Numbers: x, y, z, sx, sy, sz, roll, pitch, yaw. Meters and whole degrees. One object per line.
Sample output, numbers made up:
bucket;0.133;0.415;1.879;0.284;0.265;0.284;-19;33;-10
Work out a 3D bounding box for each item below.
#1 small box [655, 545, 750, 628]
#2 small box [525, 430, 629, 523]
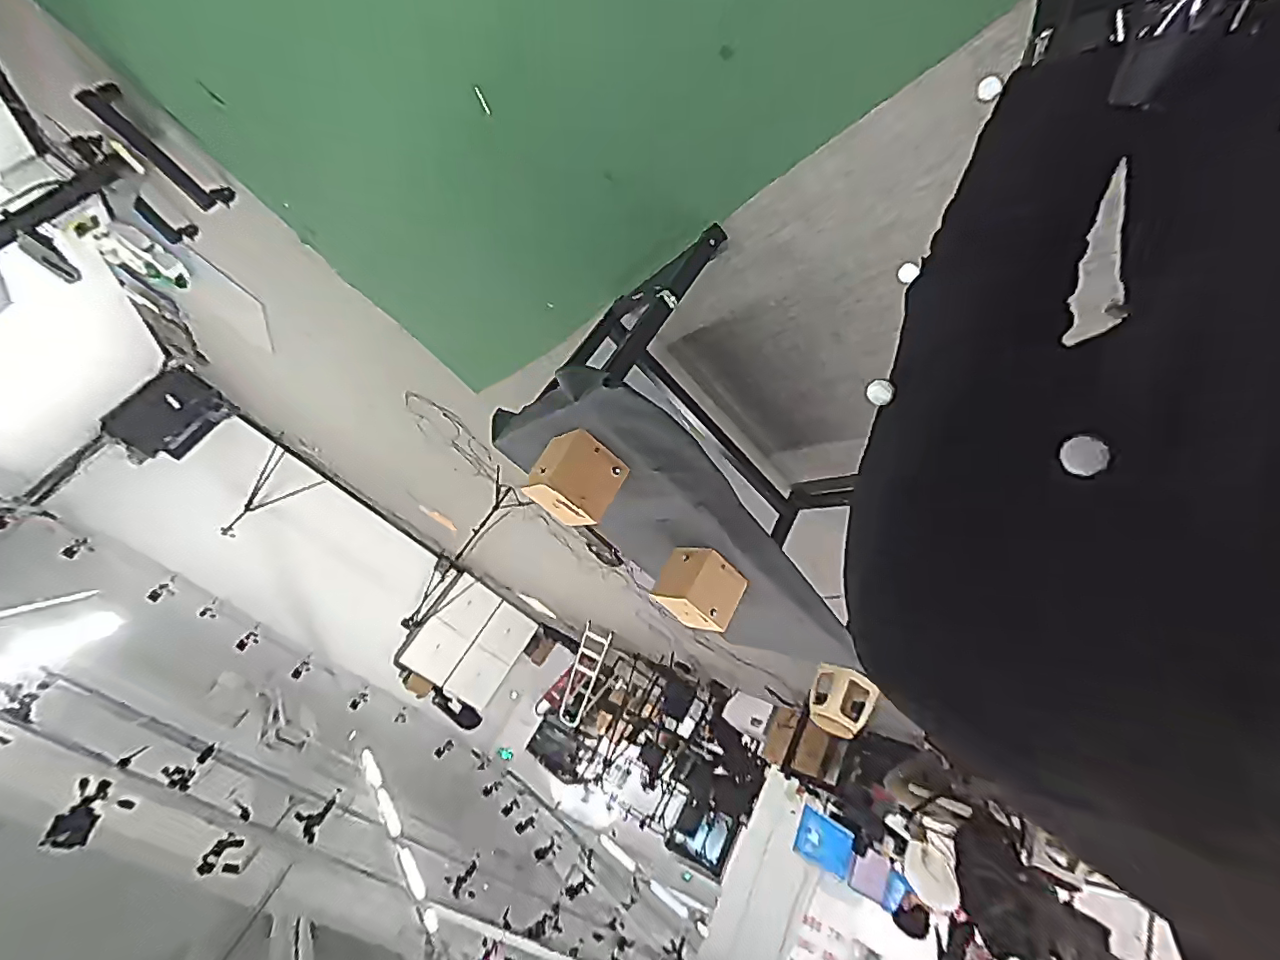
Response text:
small box;0.181;0.298;1.548;0.168;0.176;0.179;42;155;-21
small box;-0.152;-0.008;1.355;0.168;0.176;0.179;40;156;-23
